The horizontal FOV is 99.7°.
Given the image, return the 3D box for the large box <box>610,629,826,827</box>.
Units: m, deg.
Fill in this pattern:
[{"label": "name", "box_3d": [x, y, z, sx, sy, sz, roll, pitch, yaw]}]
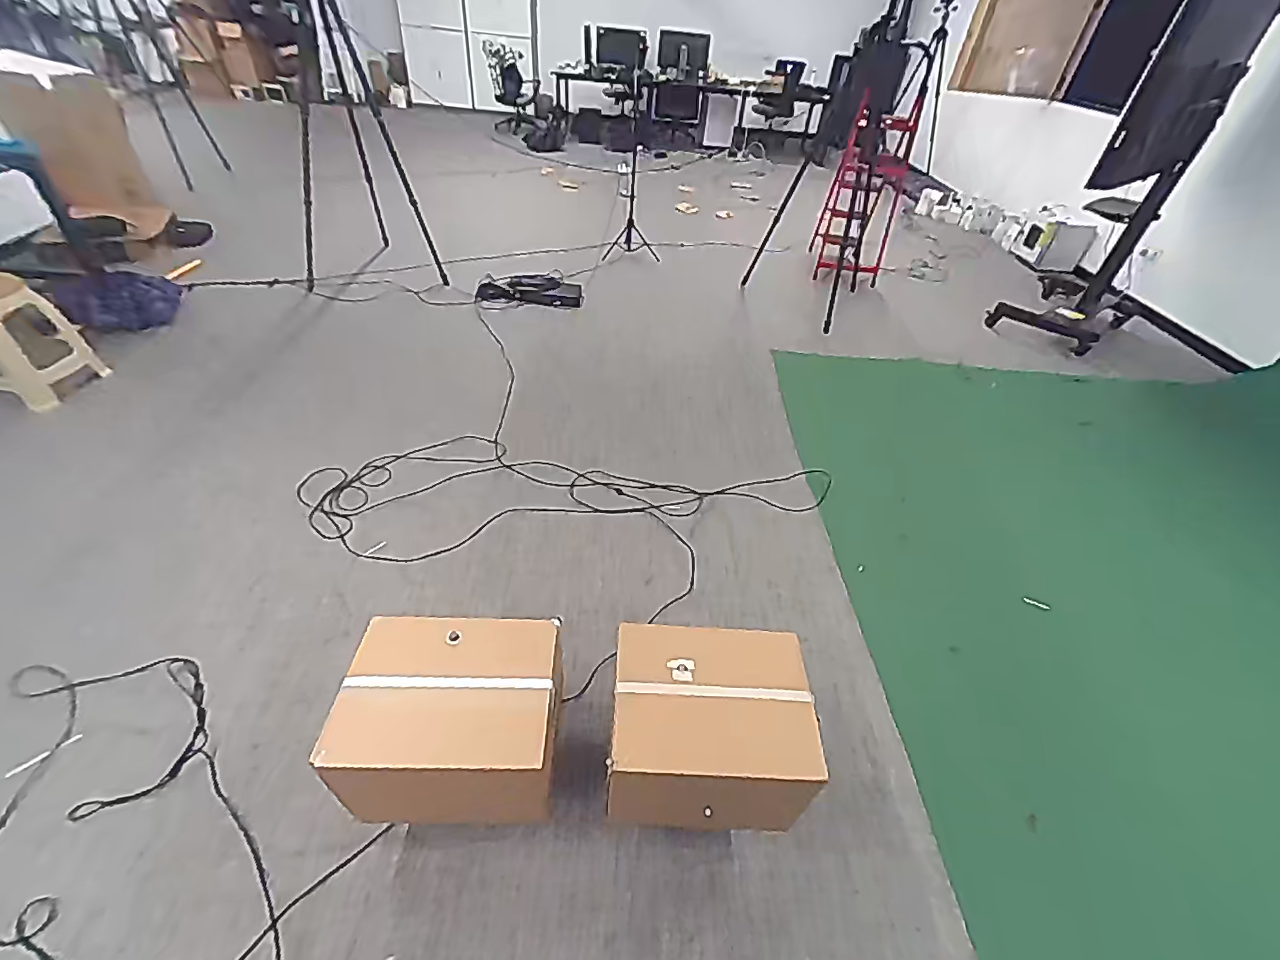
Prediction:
[{"label": "large box", "box_3d": [0.145, 0.557, 1.210, 0.408, 0.320, 0.320, 4, 42, -1]}]
